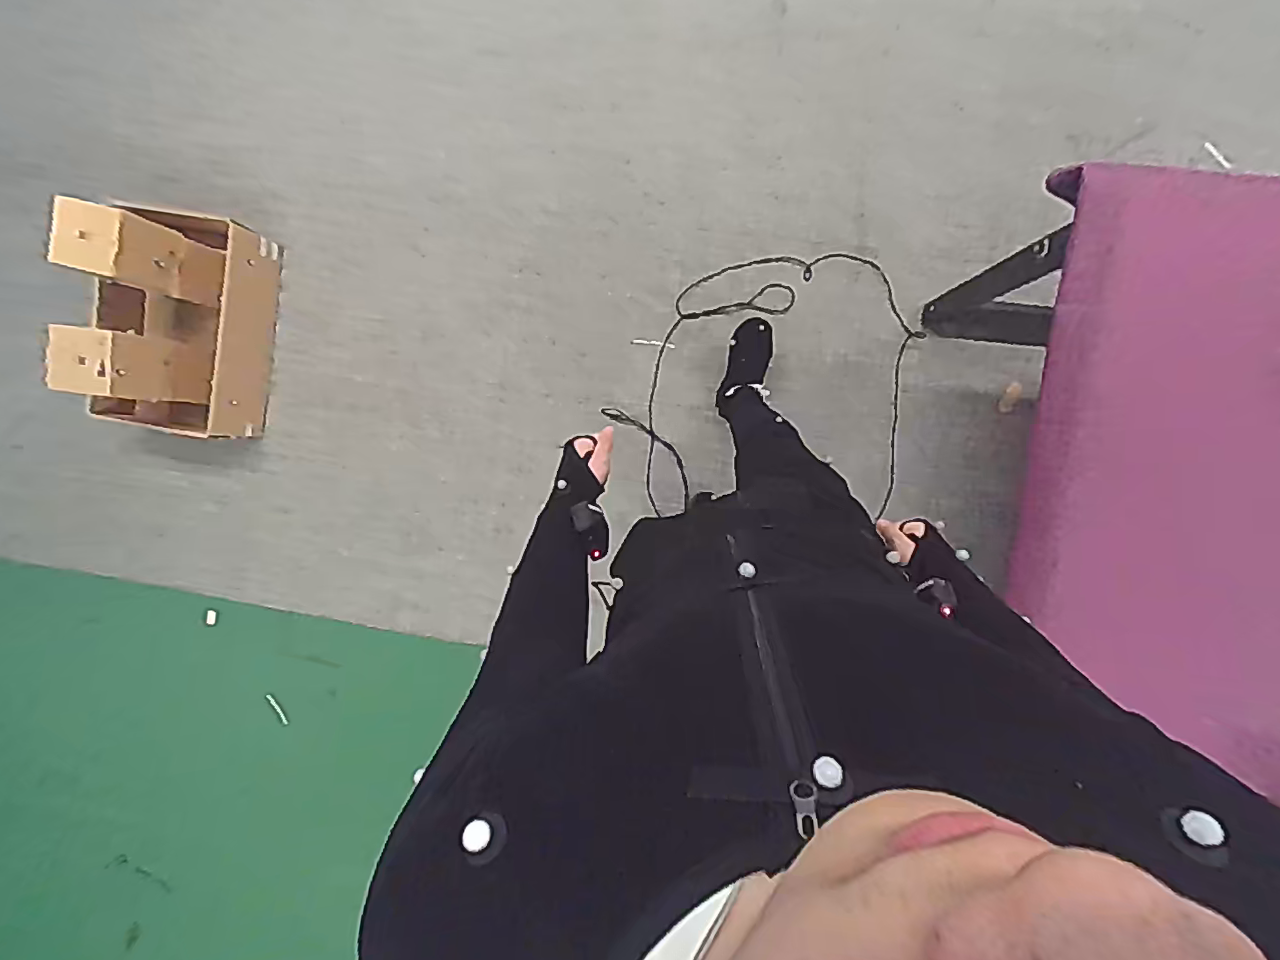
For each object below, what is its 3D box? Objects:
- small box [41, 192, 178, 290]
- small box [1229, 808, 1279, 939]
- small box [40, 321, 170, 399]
[{"bbox_3d":[-1.350,-0.603,1.384,0.179,0.176,0.168,14,95,2],"label":"small box"},{"bbox_3d":[1.030,0.607,0.772,0.179,0.176,0.168,10,93,5],"label":"small box"},{"bbox_3d":[-1.389,-0.307,1.410,0.179,0.176,0.168,8,96,4],"label":"small box"}]
